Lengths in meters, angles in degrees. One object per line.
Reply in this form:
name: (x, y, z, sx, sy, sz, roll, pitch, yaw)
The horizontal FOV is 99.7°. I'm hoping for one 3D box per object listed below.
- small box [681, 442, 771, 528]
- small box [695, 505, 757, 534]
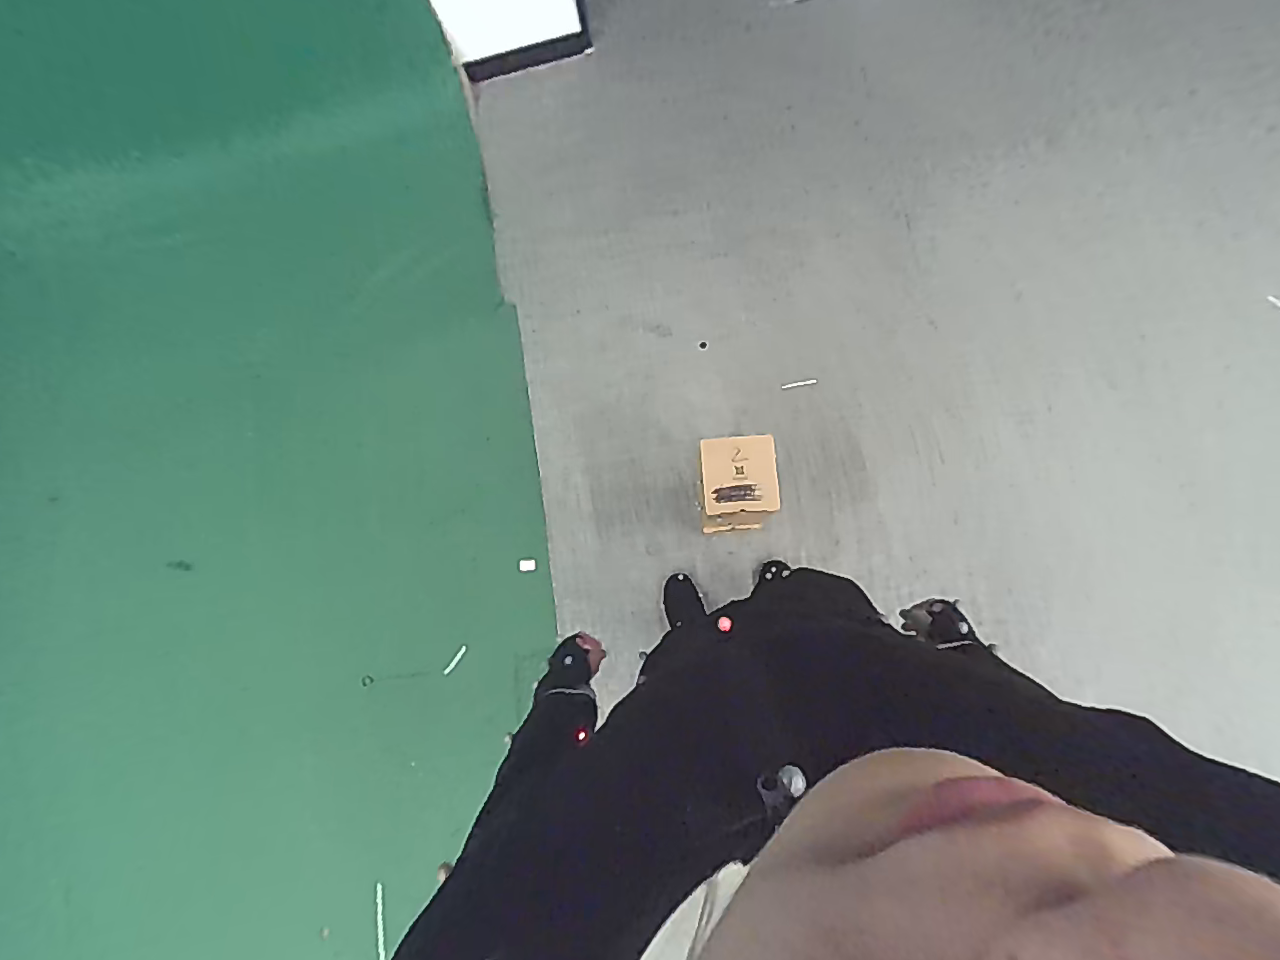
small box: (0.226, 0.022, 1.442, 0.179, 0.176, 0.168, 27, 86, 10)
small box: (0.246, 0.065, 1.589, 0.168, 0.176, 0.179, -5, 79, 5)
